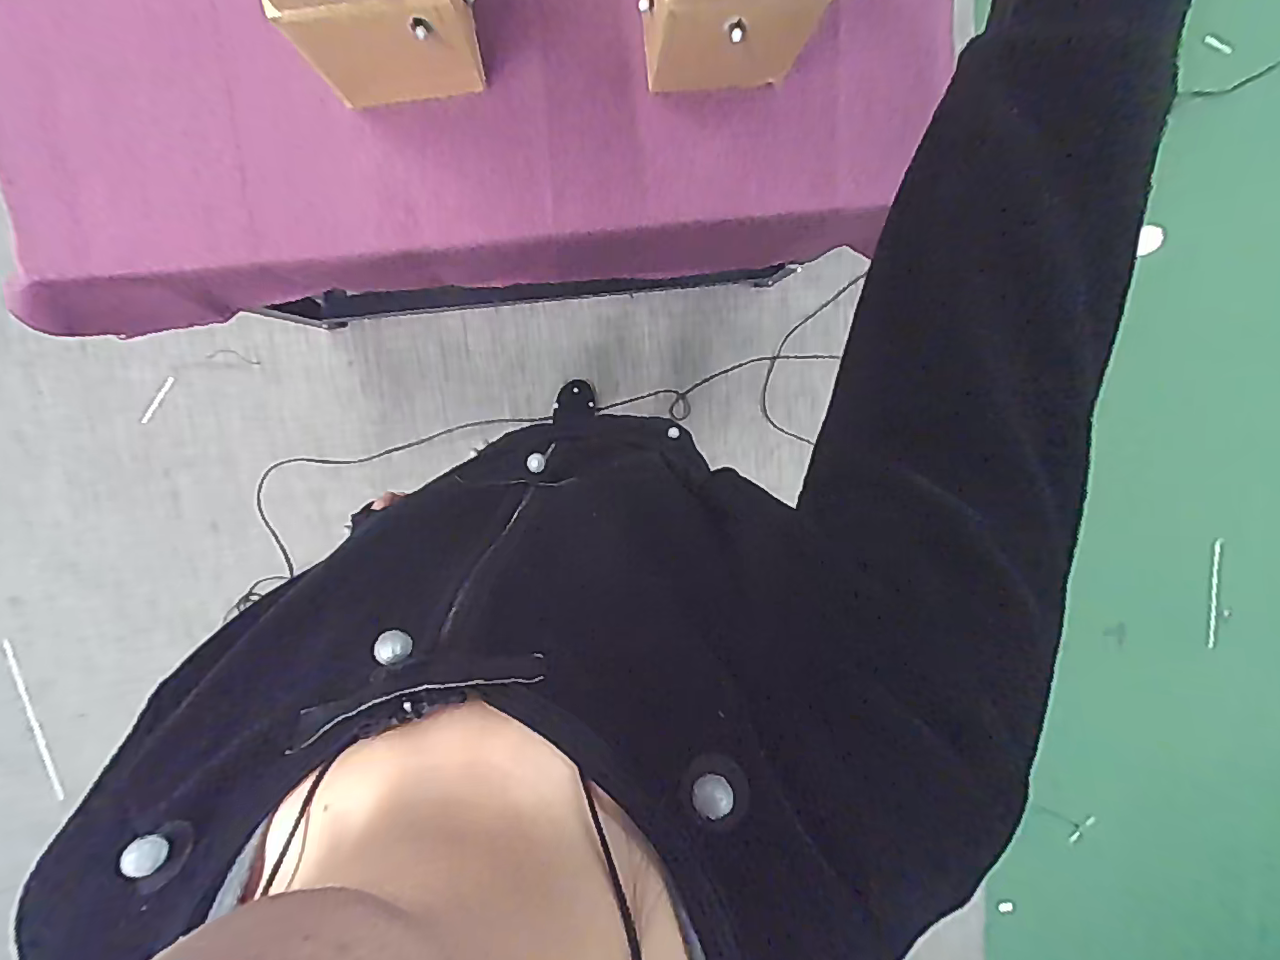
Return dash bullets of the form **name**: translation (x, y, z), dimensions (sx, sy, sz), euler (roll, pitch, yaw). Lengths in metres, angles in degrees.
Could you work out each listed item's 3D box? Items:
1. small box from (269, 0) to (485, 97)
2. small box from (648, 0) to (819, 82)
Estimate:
- **small box**: translation (-0.283, -0.547, 0.580), dimensions (0.179, 0.176, 0.168), euler (-11, 100, -4)
- **small box**: translation (0.099, -0.579, 0.604), dimensions (0.179, 0.176, 0.168), euler (-6, 101, -4)
